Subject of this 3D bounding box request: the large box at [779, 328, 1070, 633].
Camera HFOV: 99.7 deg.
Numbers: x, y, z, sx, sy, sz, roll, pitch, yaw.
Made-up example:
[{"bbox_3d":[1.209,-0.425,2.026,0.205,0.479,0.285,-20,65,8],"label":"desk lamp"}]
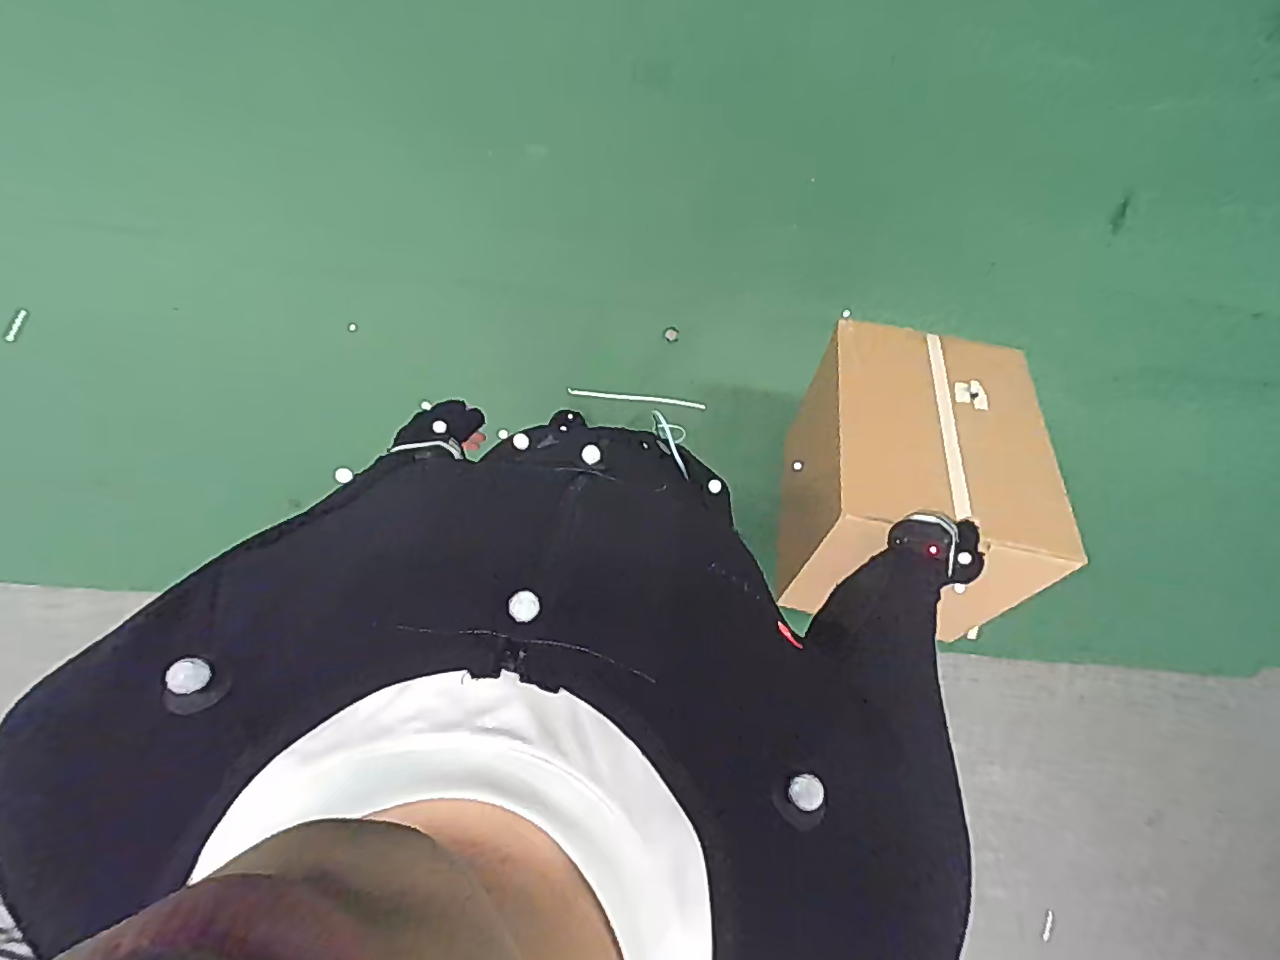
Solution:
[{"bbox_3d":[0.439,0.003,0.946,0.320,0.320,0.408,12,54,3],"label":"large box"}]
